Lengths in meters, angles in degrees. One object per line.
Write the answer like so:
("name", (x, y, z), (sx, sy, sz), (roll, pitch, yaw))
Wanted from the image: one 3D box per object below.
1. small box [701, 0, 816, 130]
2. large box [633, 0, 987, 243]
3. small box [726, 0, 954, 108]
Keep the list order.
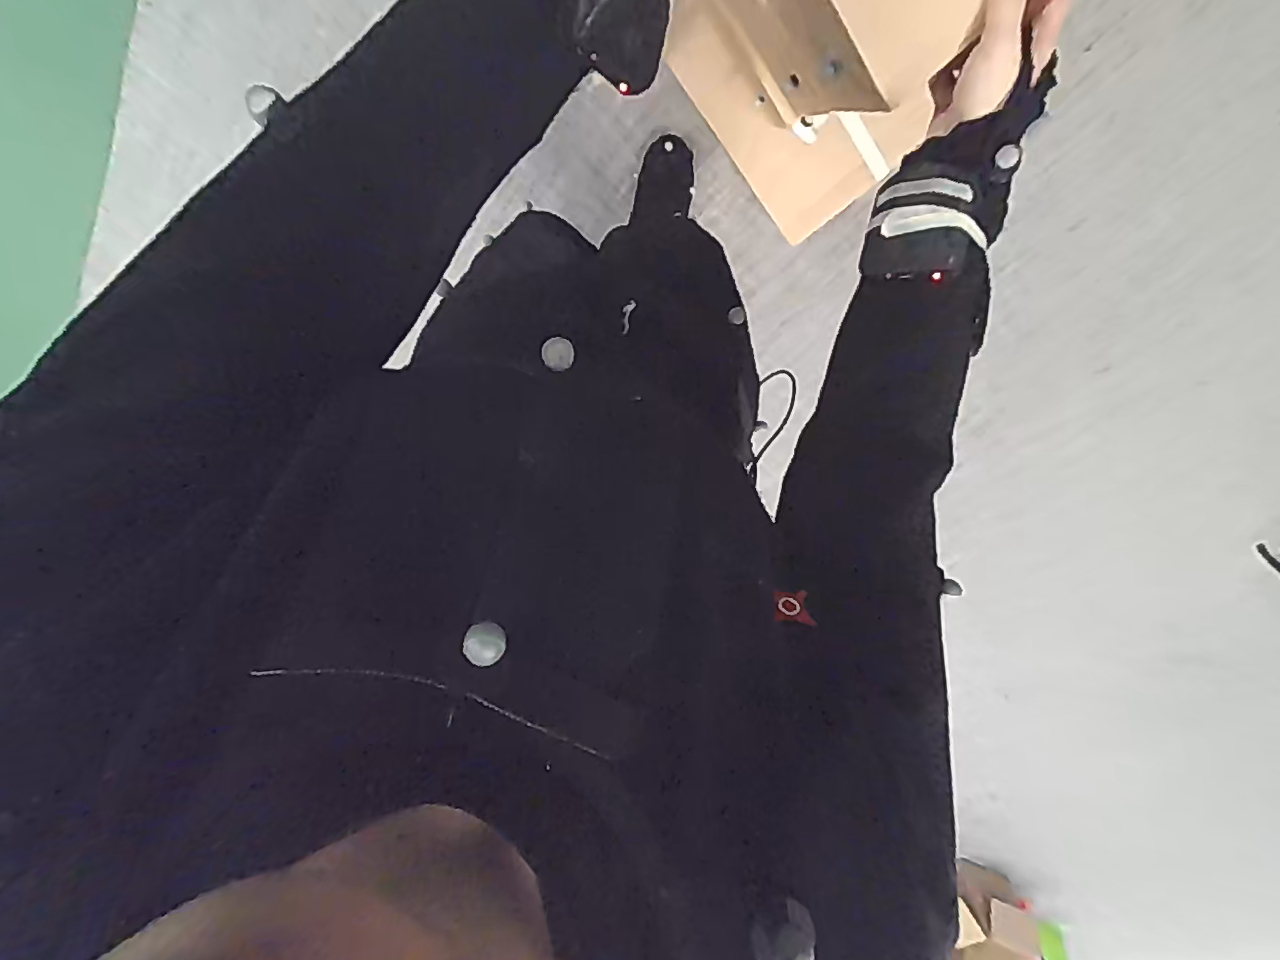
("small box", (0.187, -0.555, 0.639), (0.168, 0.176, 0.179), (-34, 113, 24))
("large box", (0.242, -0.666, 0.849), (0.320, 0.320, 0.408), (-34, 116, 27))
("small box", (0.180, -0.477, 0.496), (0.168, 0.176, 0.179), (-35, 115, 24))
